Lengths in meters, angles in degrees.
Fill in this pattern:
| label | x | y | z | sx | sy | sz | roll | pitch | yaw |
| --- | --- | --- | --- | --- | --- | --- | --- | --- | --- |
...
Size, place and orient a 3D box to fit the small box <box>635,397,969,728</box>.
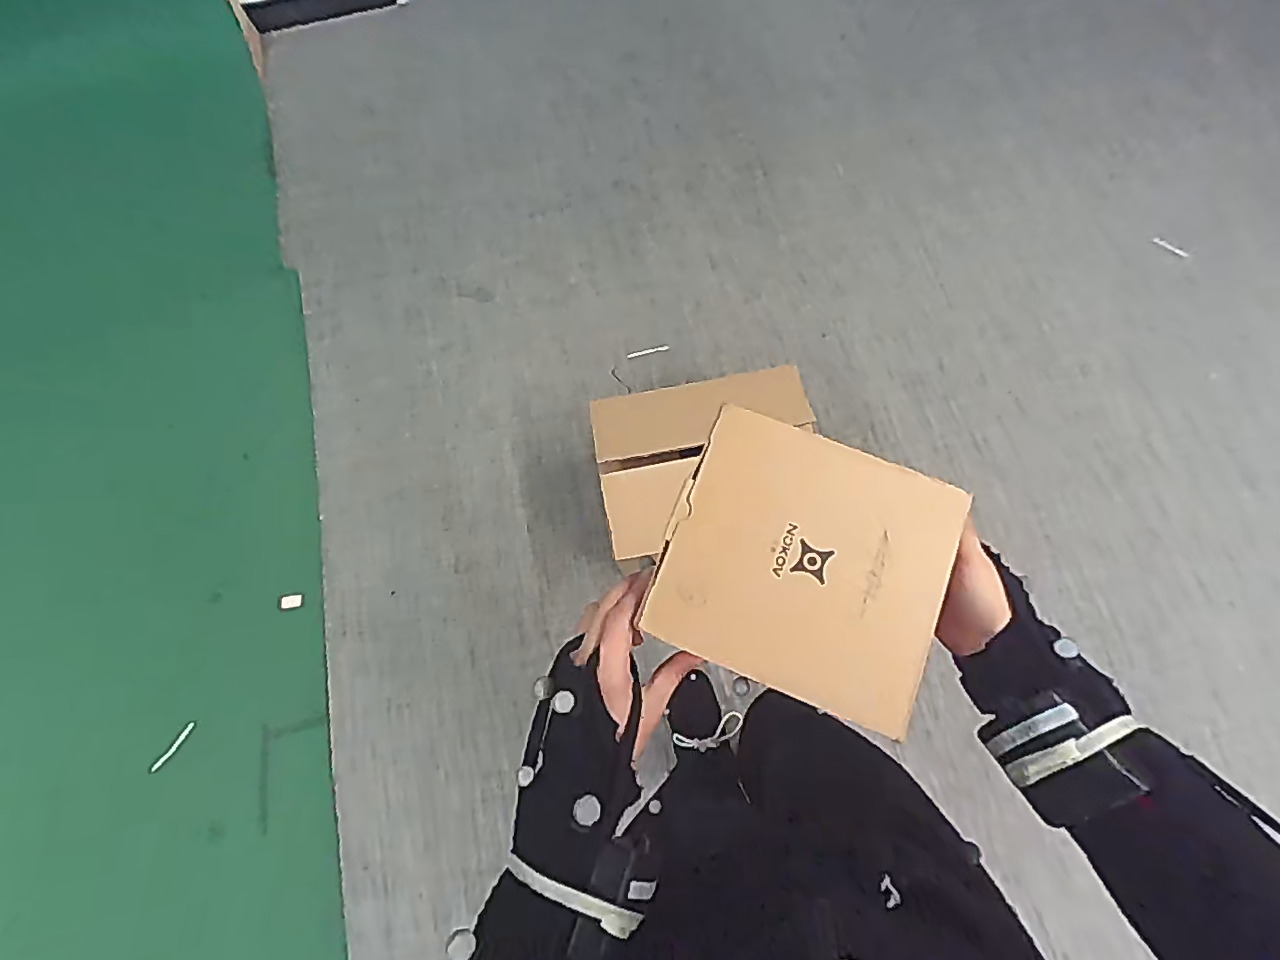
| label | x | y | z | sx | sy | sz | roll | pitch | yaw |
| --- | --- | --- | --- | --- | --- | --- | --- | --- | --- |
| small box | 0.107 | 0.064 | 0.423 | 0.179 | 0.176 | 0.168 | 21 | 79 | 5 |
